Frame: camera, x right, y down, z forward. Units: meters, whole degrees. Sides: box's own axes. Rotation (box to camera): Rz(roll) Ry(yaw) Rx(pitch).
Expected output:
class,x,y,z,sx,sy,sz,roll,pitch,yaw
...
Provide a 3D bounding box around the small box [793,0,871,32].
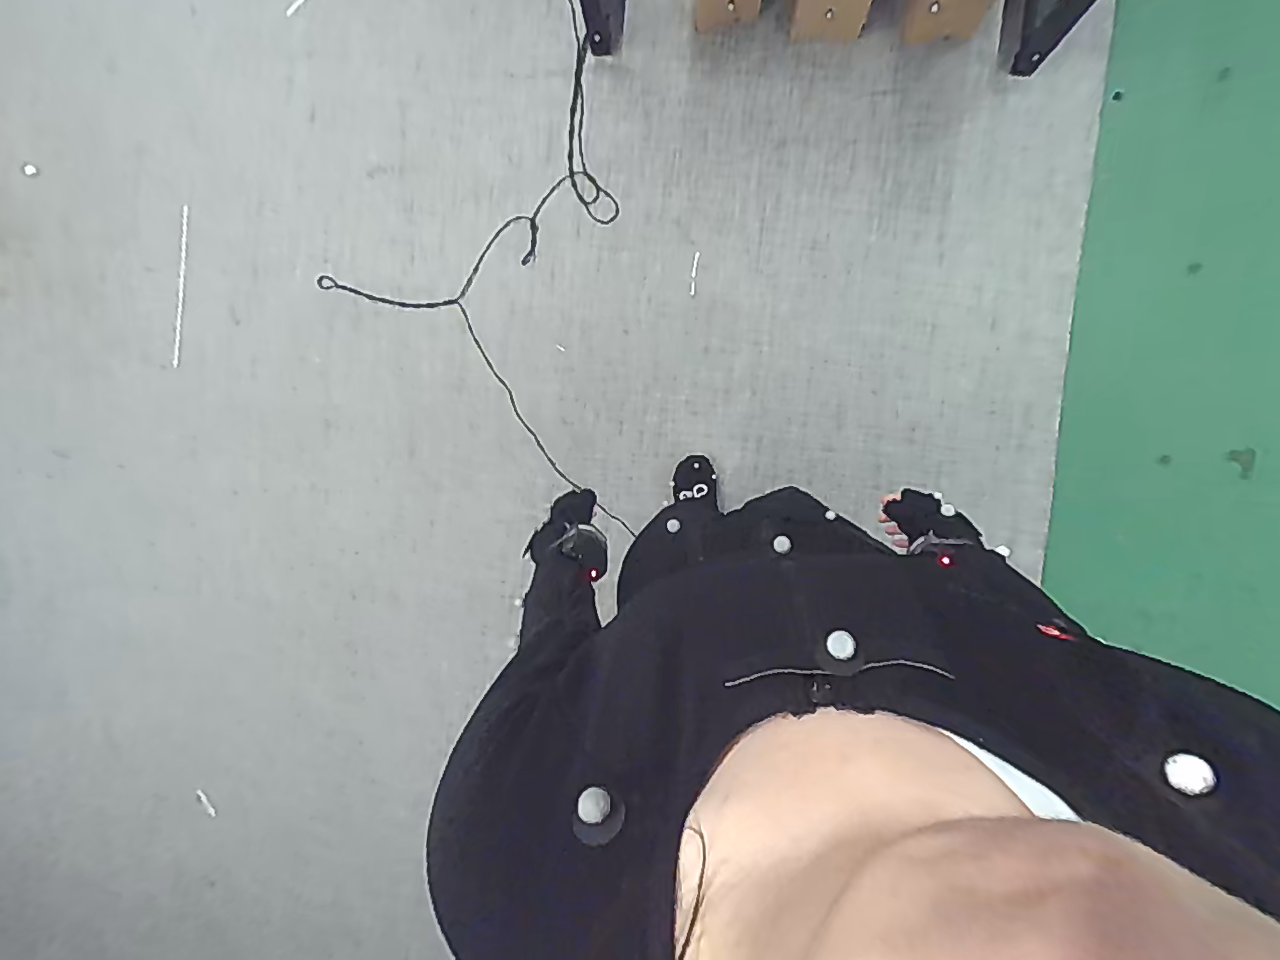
class,x,y,z,sx,sy,sz,roll,pitch,yaw
small box,0.493,-1.264,1.349,0.179,0.176,0.168,4,92,6
